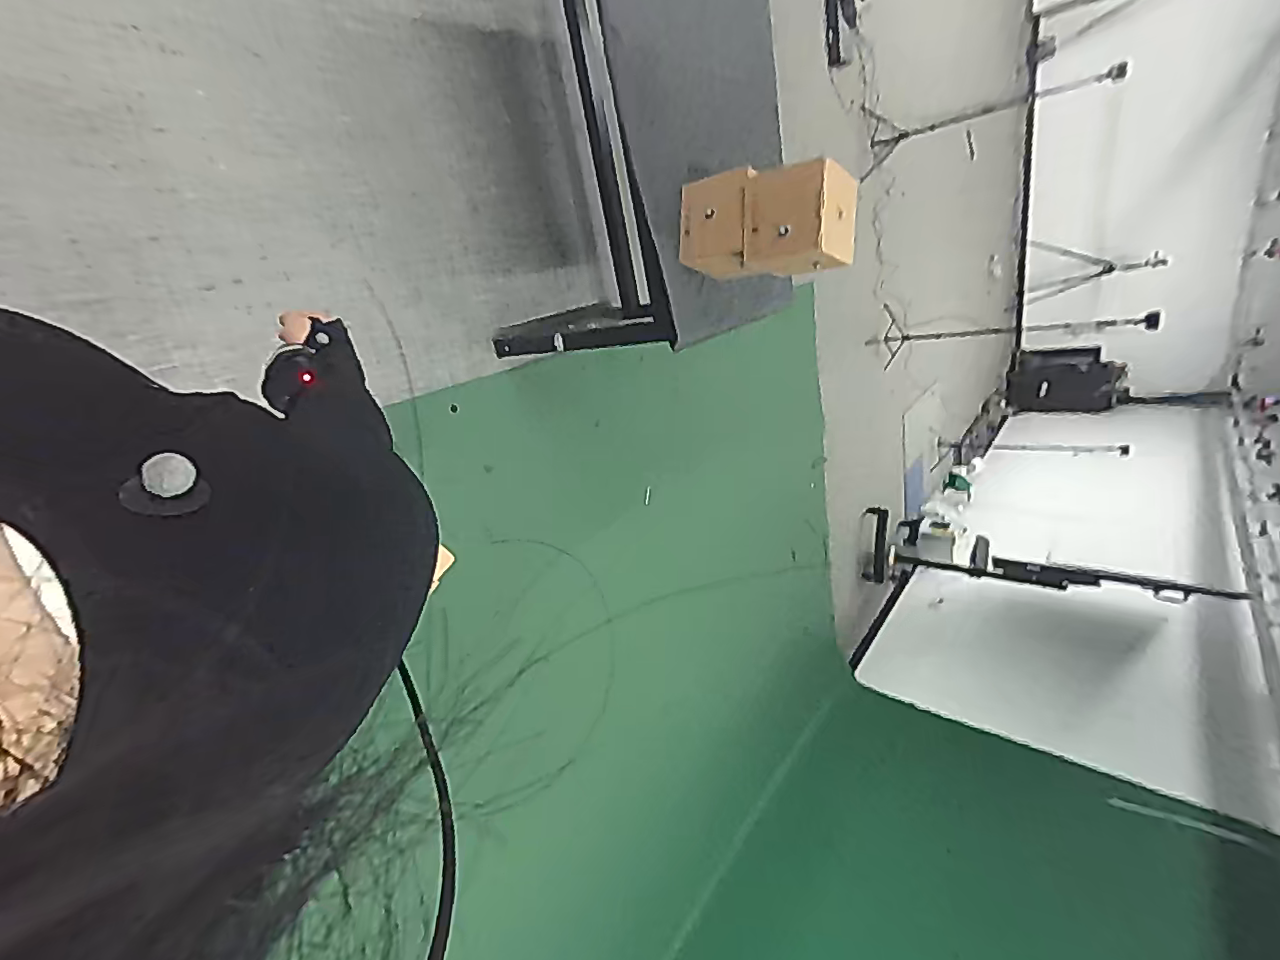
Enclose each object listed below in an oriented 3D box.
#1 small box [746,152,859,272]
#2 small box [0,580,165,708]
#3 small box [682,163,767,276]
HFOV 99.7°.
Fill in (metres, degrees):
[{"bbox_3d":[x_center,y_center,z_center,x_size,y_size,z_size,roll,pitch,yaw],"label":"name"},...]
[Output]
[{"bbox_3d":[0.327,-0.528,1.096,0.179,0.176,0.168,-12,106,-49],"label":"small box"},{"bbox_3d":[-1.060,0.304,1.021,0.179,0.176,0.168,42,65,-42],"label":"small box"},{"bbox_3d":[0.208,-0.564,1.202,0.179,0.176,0.168,-4,99,-50],"label":"small box"}]
